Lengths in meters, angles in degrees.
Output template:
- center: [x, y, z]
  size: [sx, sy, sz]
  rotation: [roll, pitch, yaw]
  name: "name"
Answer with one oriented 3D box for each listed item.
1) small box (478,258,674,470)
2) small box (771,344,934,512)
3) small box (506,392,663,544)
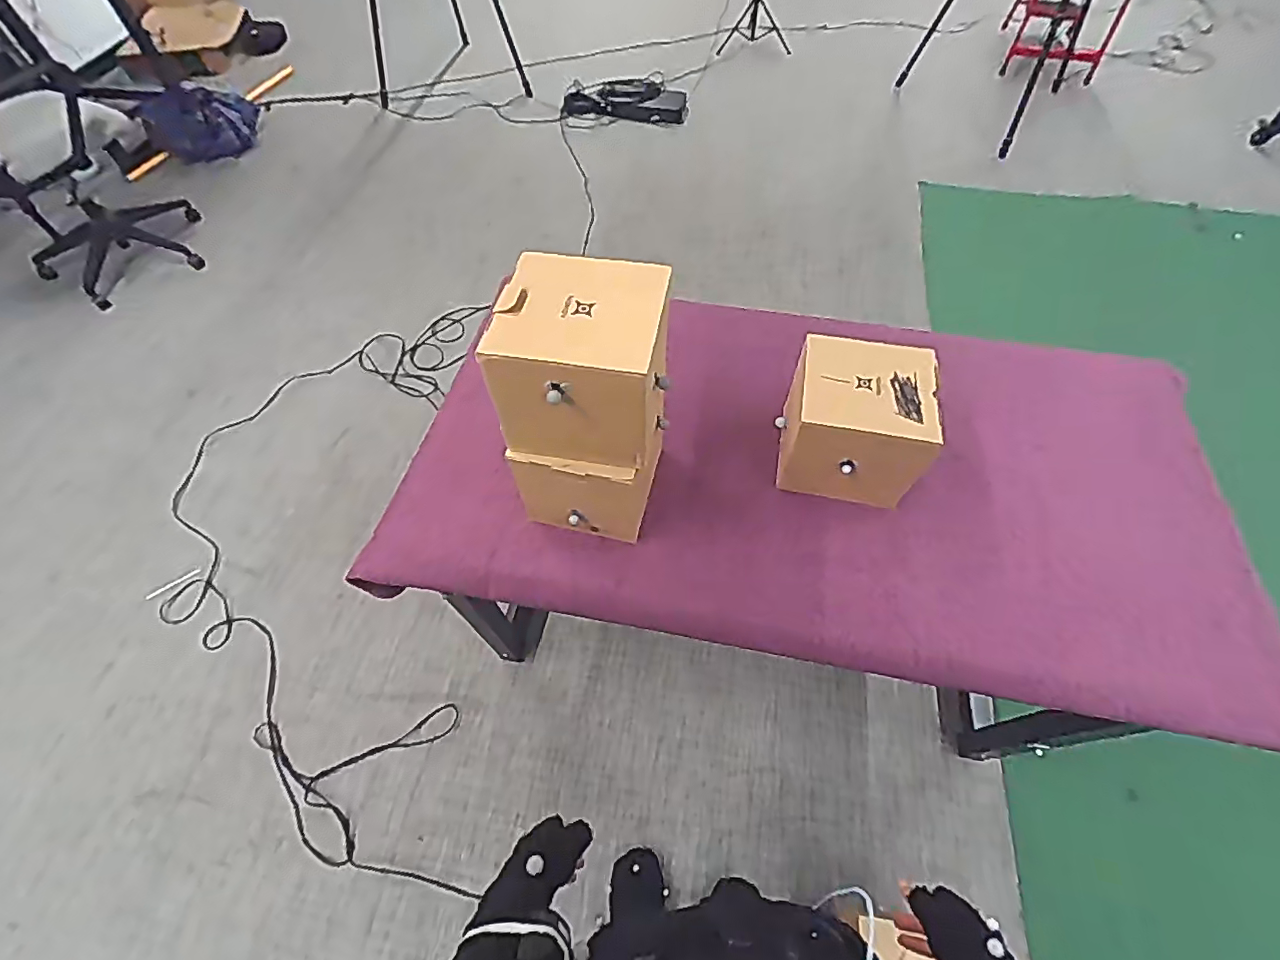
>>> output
- center: [-0.062, -0.129, 0.638]
  size: [0.179, 0.176, 0.168]
  rotation: [9, 58, 6]
  name: "small box"
- center: [0.303, -0.069, 0.794]
  size: [0.179, 0.176, 0.168]
  rotation: [11, 59, 8]
  name: "small box"
- center: [-0.069, -0.034, 0.770]
  size: [0.168, 0.176, 0.179]
  rotation: [12, 59, 8]
  name: "small box"
